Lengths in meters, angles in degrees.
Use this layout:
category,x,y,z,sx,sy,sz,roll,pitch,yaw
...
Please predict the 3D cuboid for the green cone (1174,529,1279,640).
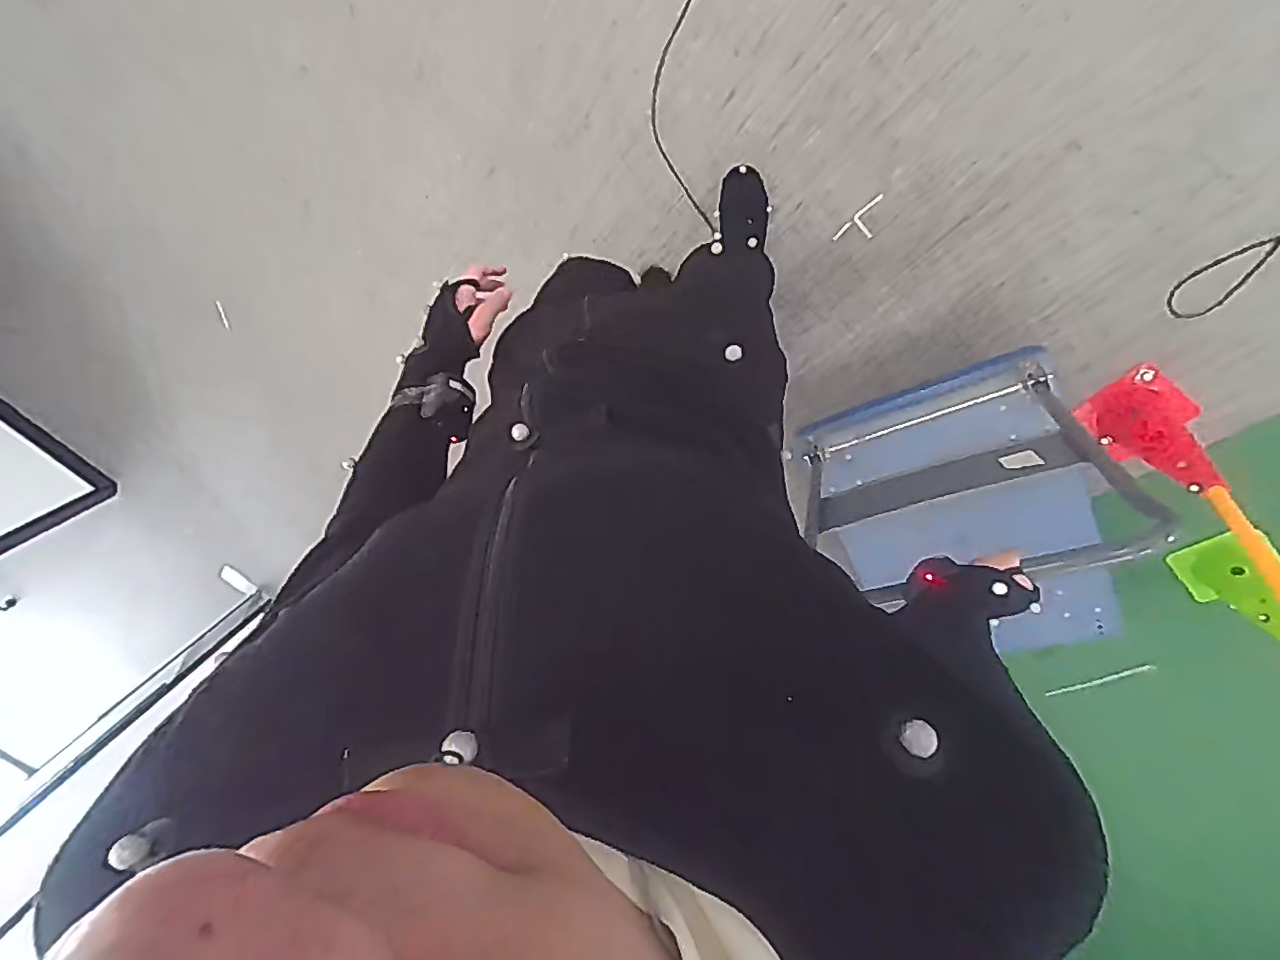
category,x,y,z,sx,sy,sz,roll,pitch,yaw
green cone,1.520,0.321,1.286,0.202,0.368,0.200,43,123,-12
